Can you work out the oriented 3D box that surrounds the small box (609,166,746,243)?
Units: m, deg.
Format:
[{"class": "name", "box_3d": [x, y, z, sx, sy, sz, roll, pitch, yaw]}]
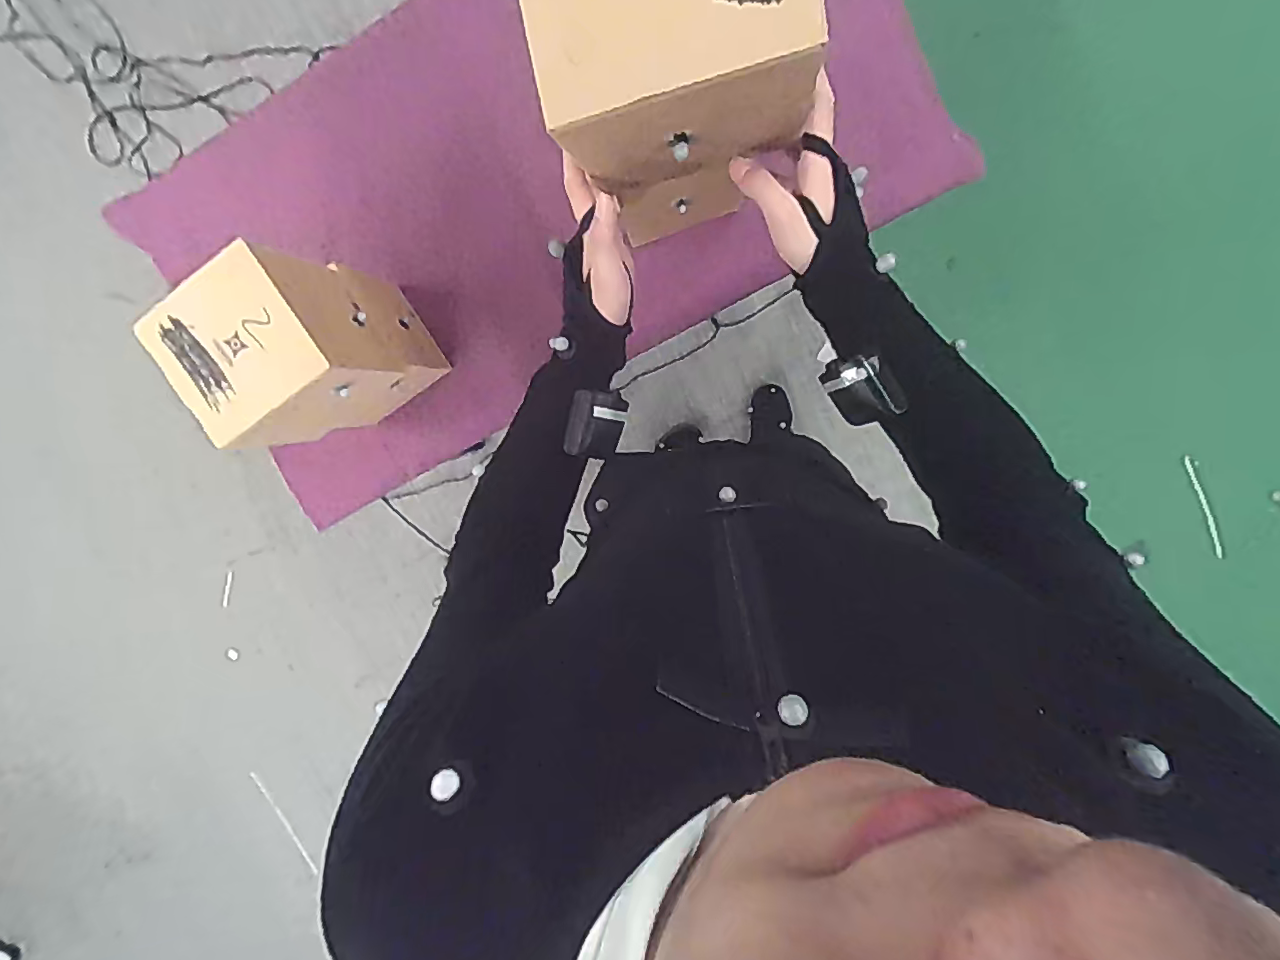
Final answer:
[{"class": "small box", "box_3d": [0.039, -0.450, 0.746, 0.179, 0.176, 0.168, -16, 98, 8]}]

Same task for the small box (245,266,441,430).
[{"class": "small box", "box_3d": [-0.436, -0.195, 0.832, 0.179, 0.176, 0.168, -31, 95, 10]}]

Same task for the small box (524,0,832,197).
[{"class": "small box", "box_3d": [0.027, -0.325, 0.386, 0.179, 0.176, 0.168, -8, 103, 13]}]
